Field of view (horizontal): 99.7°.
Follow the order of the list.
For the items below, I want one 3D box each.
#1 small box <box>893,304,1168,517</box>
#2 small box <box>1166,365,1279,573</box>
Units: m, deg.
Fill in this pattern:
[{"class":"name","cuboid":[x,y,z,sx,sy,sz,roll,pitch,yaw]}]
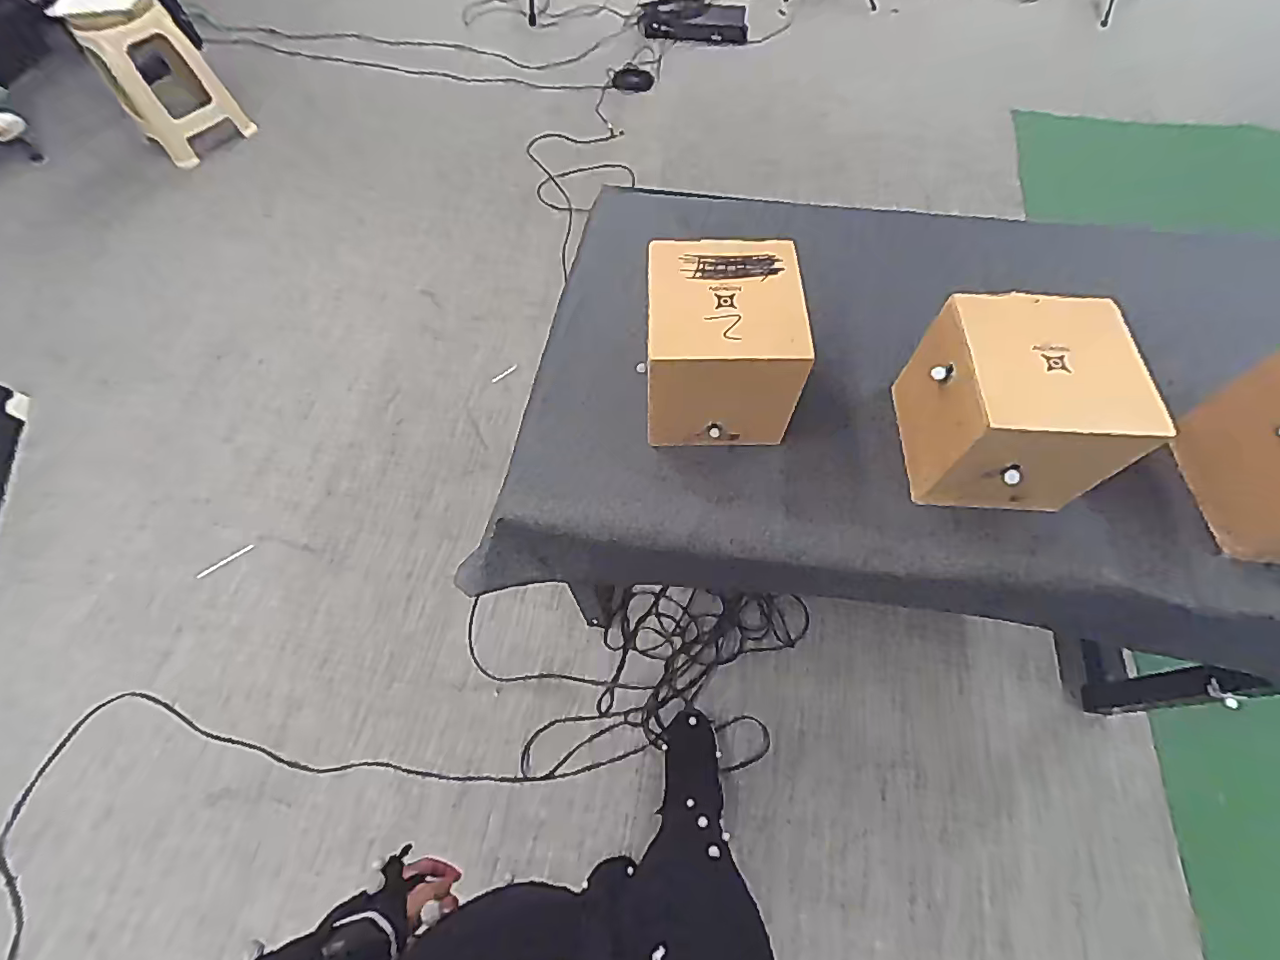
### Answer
[{"class":"small box","cuboid":[0.405,-0.070,0.602,0.168,0.176,0.179,3,61,3]},{"class":"small box","cuboid":[0.723,-0.012,0.565,0.168,0.176,0.179,1,62,3]}]
